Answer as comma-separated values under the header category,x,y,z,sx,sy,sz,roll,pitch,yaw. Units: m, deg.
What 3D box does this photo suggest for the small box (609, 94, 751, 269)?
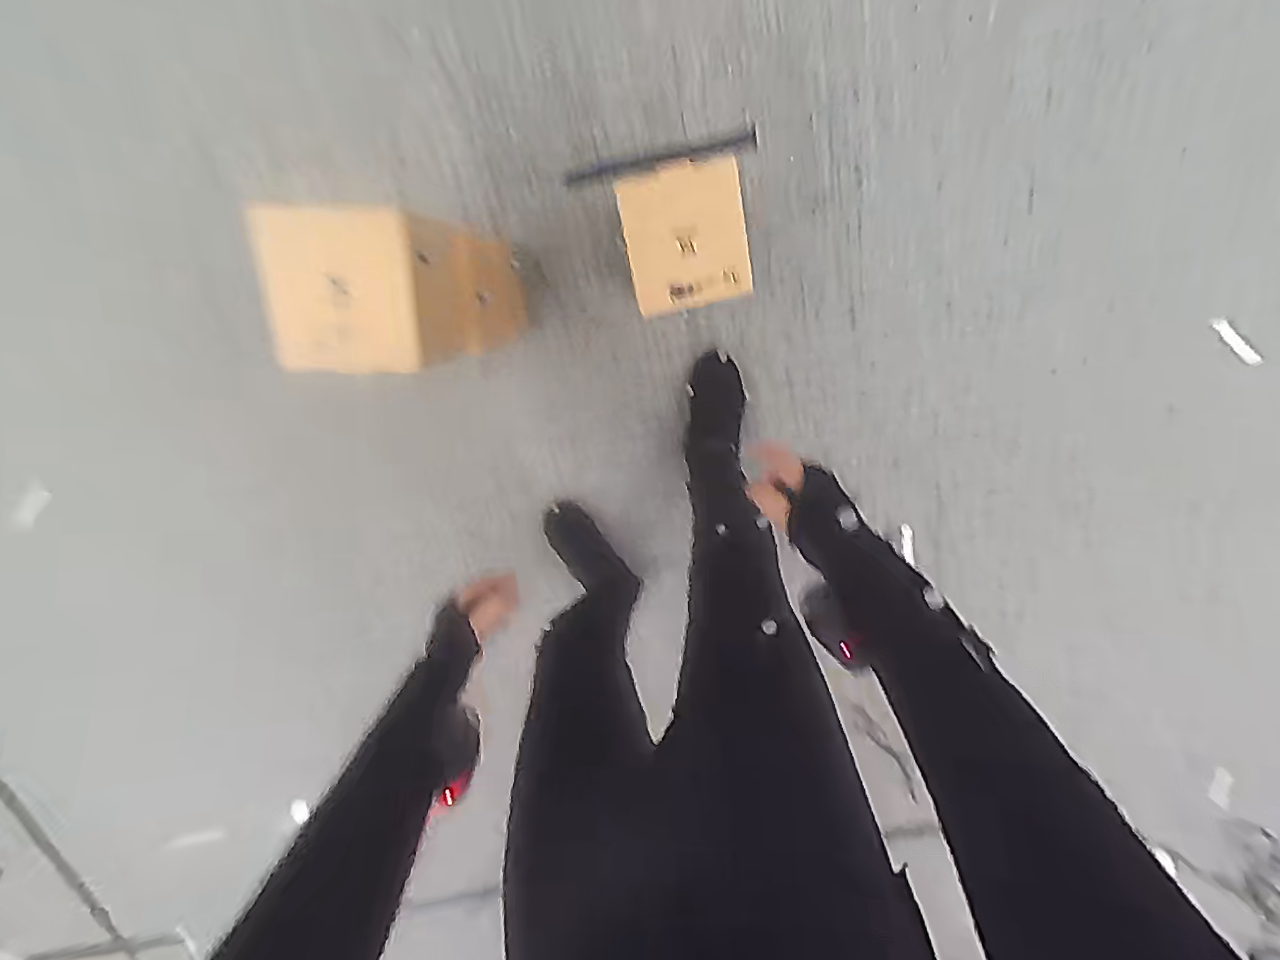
category,x,y,z,sx,sy,sz,roll,pitch,yaw
small box,0.052,-0.413,0.779,0.168,0.176,0.179,-11,109,3

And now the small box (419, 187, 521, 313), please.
category,x,y,z,sx,sy,sz,roll,pitch,yaw
small box,-0.318,-0.395,0.952,0.168,0.176,0.179,-7,110,2
